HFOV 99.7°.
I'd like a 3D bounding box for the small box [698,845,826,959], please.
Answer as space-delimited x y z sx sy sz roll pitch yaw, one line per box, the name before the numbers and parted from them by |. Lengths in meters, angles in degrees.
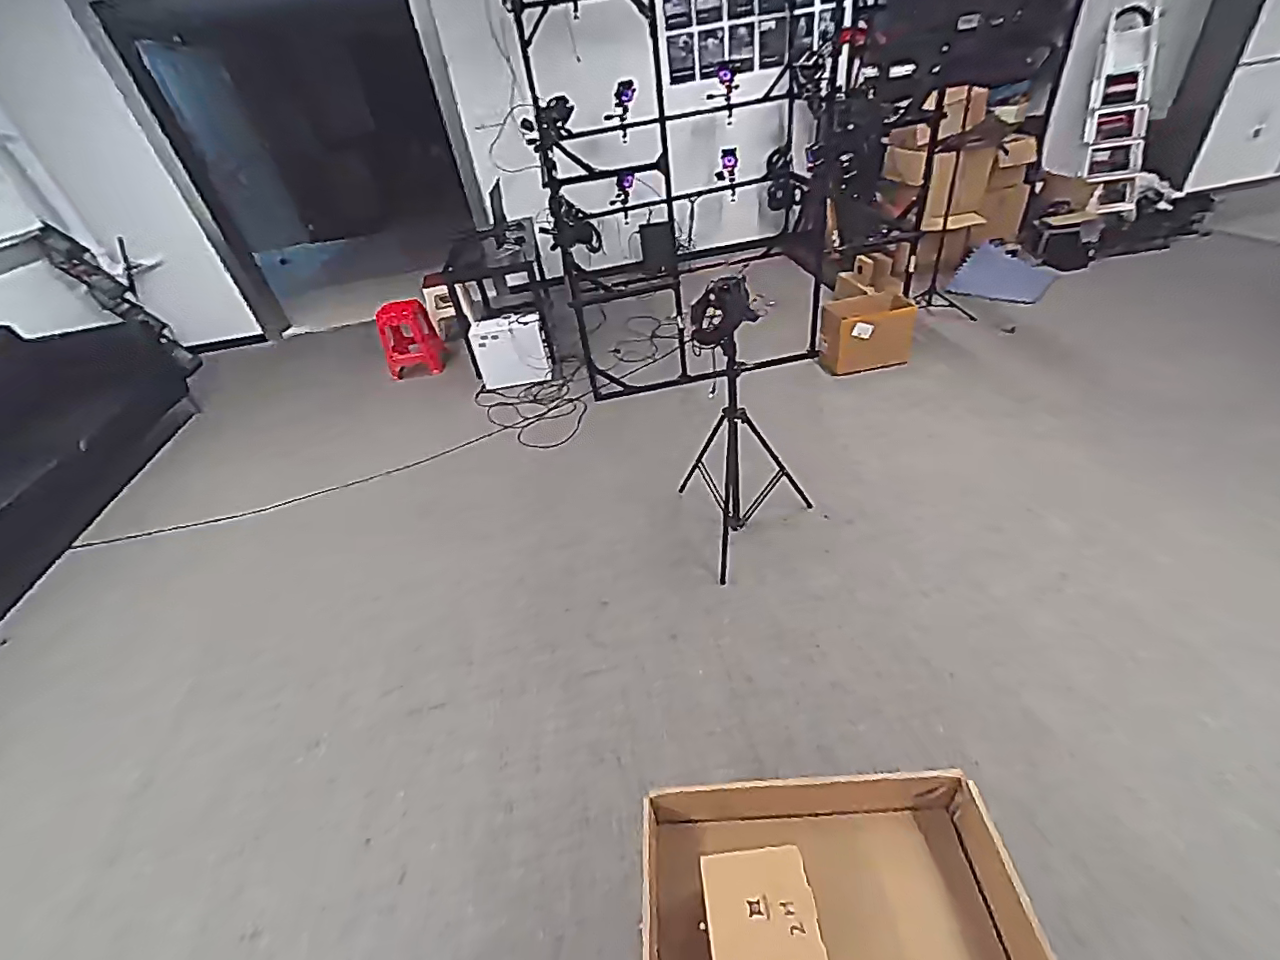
small box | 0.200 0.752 0.919 0.179 0.176 0.168 -7 38 2
